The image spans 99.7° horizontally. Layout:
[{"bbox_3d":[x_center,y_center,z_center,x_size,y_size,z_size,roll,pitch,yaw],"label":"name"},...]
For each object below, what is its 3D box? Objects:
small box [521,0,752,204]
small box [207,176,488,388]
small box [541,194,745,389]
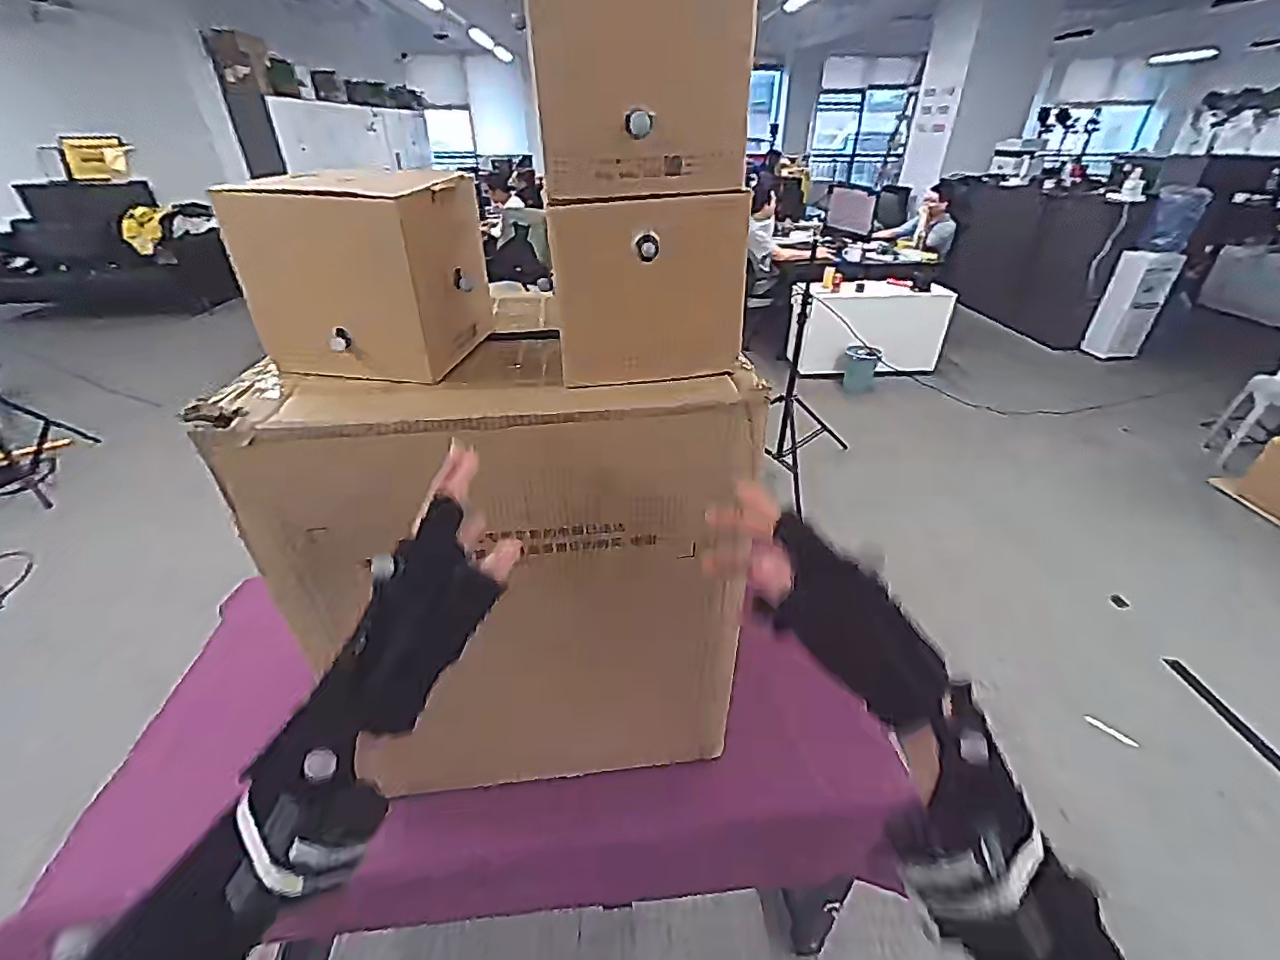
[{"bbox_3d":[-0.011,-0.341,0.469,0.168,0.176,0.179,-6,34,-5],"label":"small box"},{"bbox_3d":[-0.273,-0.206,0.558,0.179,0.176,0.168,5,35,6],"label":"small box"},{"bbox_3d":[-0.003,-0.202,0.557,0.179,0.176,0.168,-6,34,-7],"label":"small box"}]
